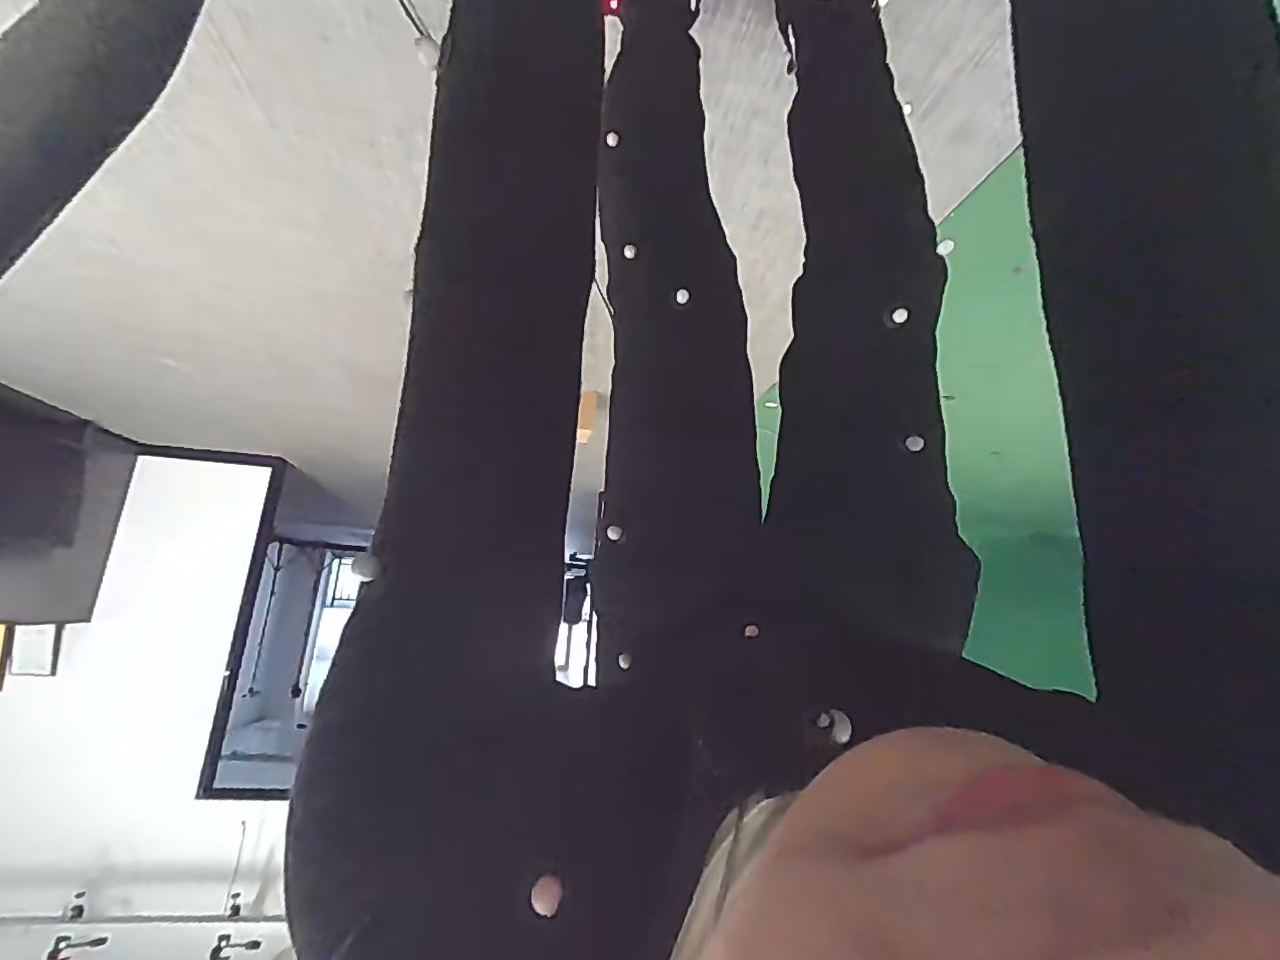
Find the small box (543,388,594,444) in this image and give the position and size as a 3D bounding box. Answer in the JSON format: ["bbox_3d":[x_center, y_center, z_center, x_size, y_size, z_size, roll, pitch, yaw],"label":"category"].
[{"bbox_3d":[-0.285,-0.256,2.165,0.179,0.176,0.168,8,165,-14],"label":"small box"}]
